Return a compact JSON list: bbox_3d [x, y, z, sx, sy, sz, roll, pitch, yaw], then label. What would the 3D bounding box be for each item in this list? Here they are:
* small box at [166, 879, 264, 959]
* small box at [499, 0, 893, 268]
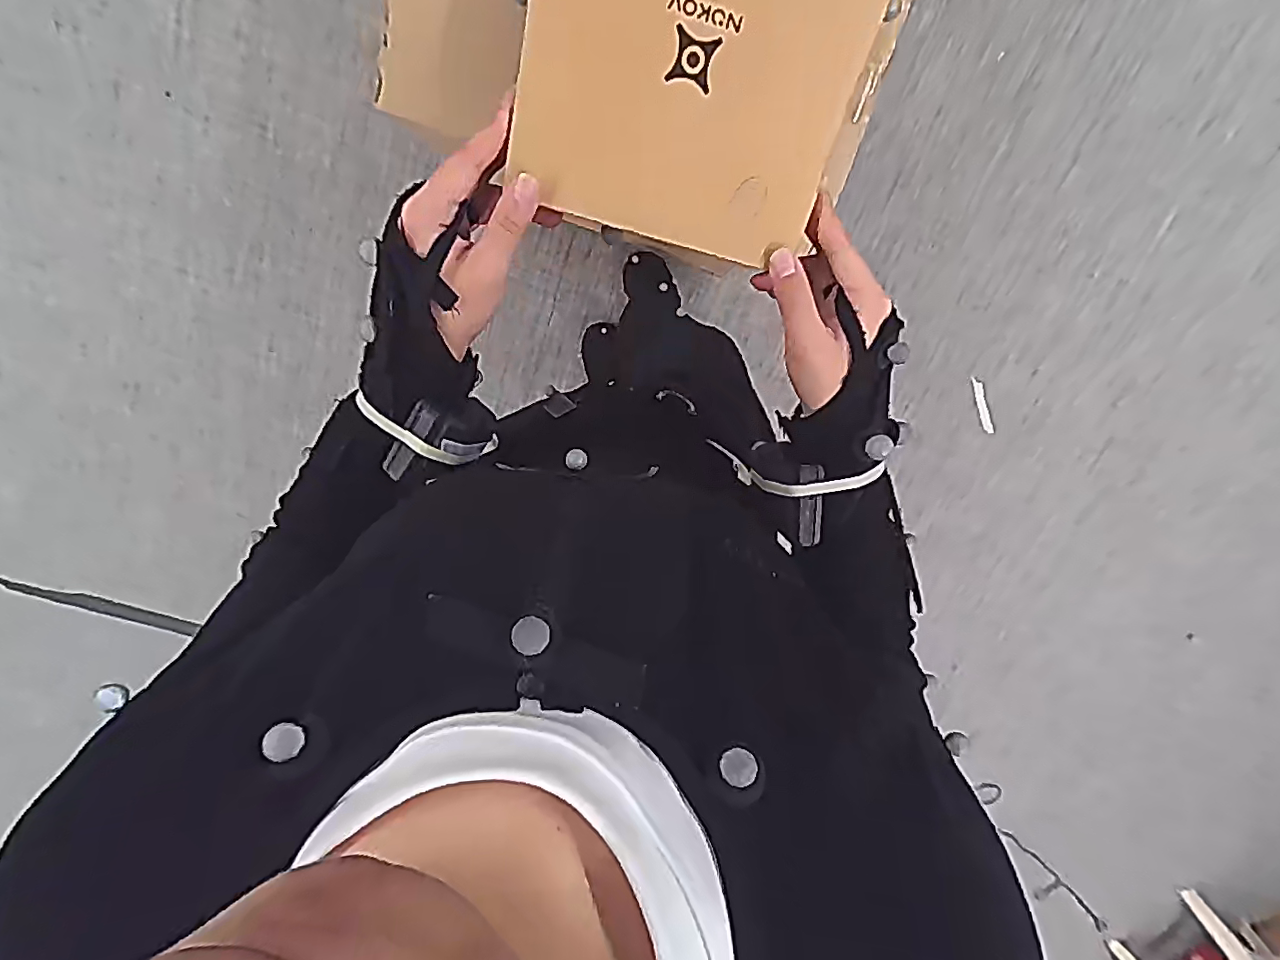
[{"bbox_3d":[-1.249,1.325,1.595,0.168,0.176,0.179,18,108,-9],"label":"small box"},{"bbox_3d":[0.027,-0.246,0.319,0.168,0.176,0.179,13,117,-7],"label":"small box"}]
